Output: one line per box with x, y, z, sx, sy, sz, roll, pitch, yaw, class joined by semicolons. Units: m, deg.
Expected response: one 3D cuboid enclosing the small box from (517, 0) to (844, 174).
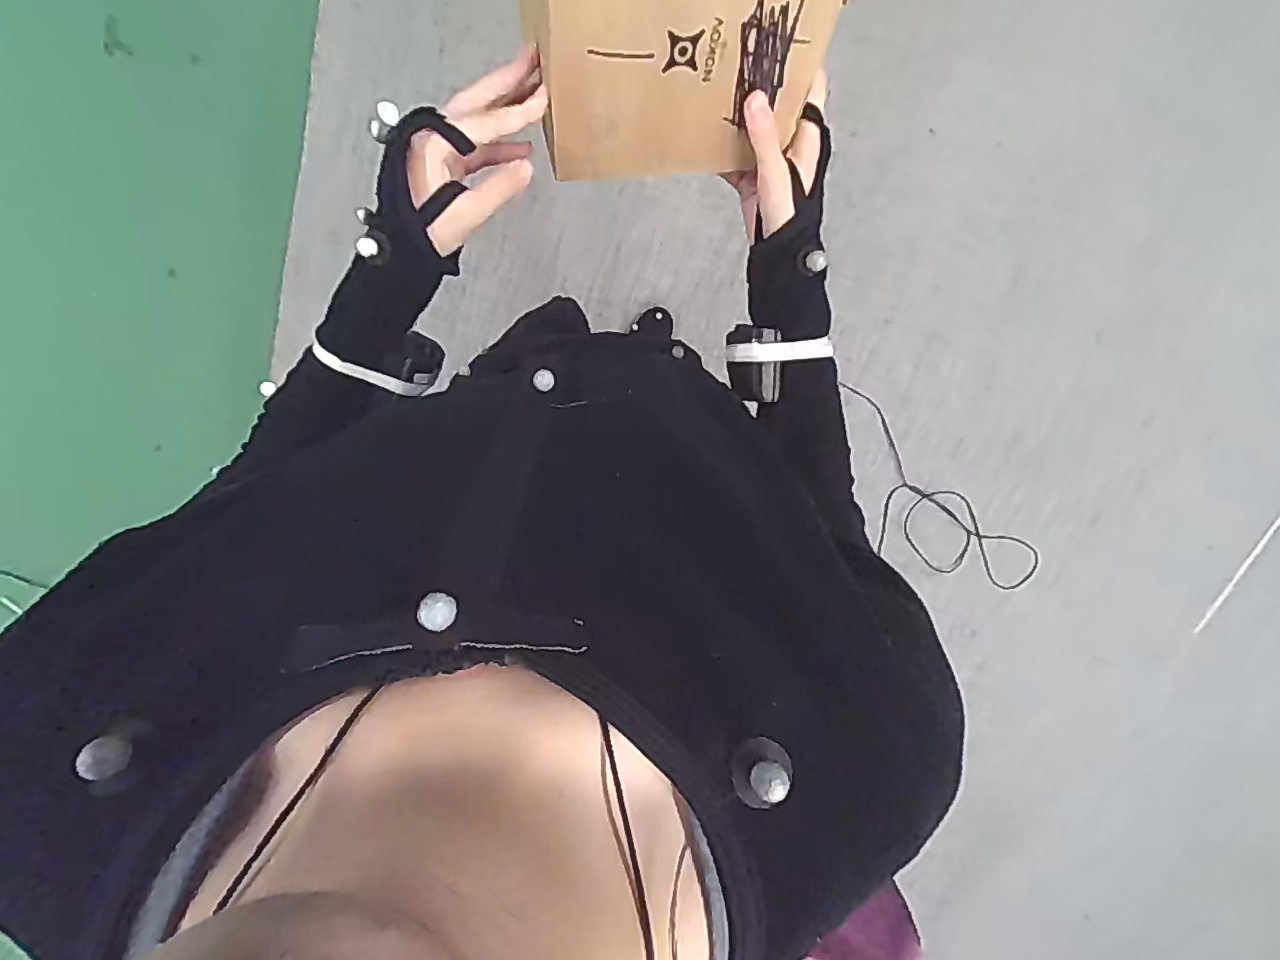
0.015;-0.331;0.345;0.179;0.168;0.176;-8;71;-10;small box
